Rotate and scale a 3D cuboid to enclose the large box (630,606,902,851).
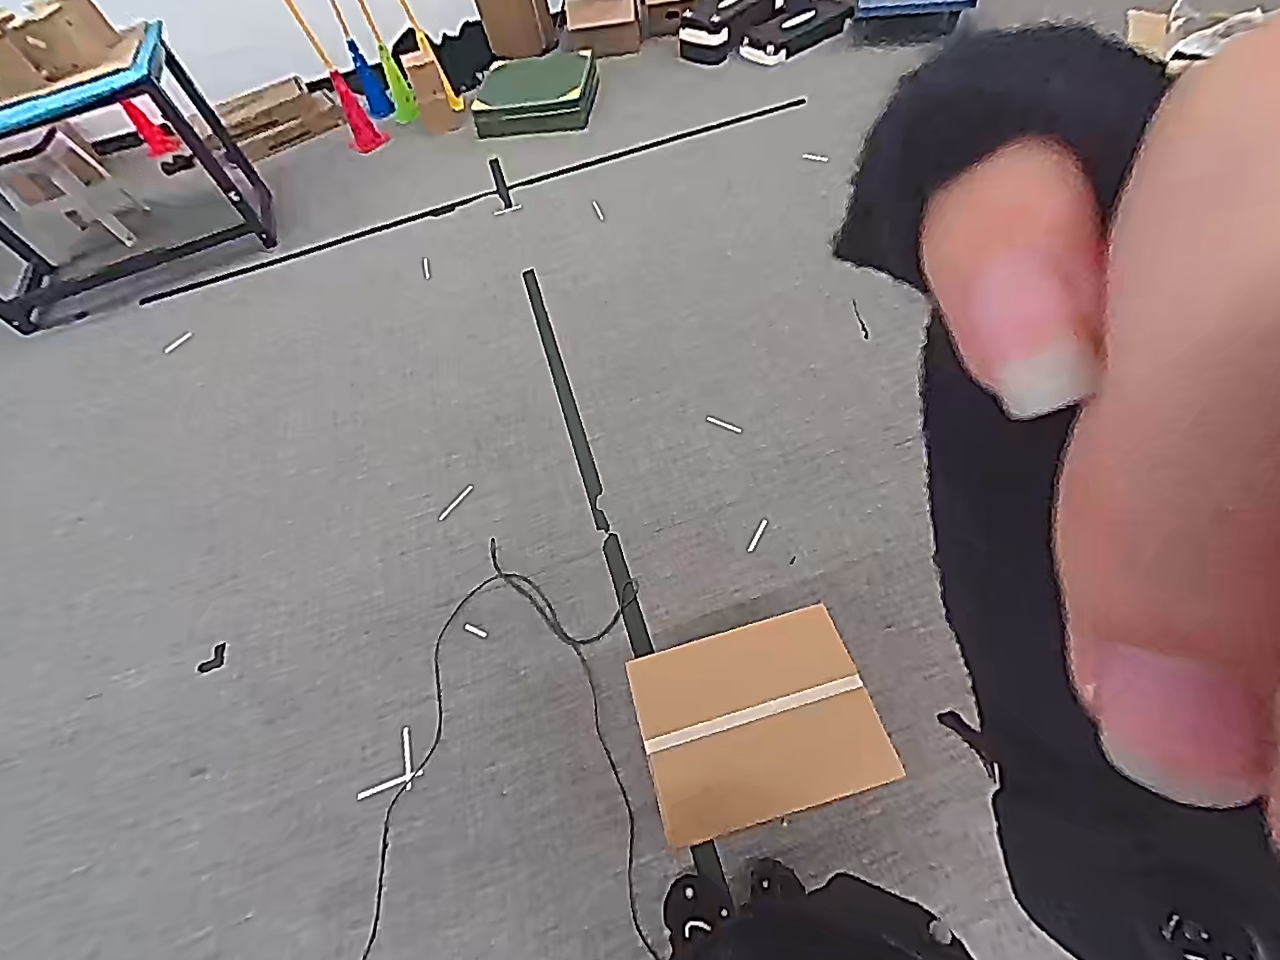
[{"bbox_3d":[0.224,0.504,1.083,0.408,0.320,0.320,-16,56,-2],"label":"large box"}]
